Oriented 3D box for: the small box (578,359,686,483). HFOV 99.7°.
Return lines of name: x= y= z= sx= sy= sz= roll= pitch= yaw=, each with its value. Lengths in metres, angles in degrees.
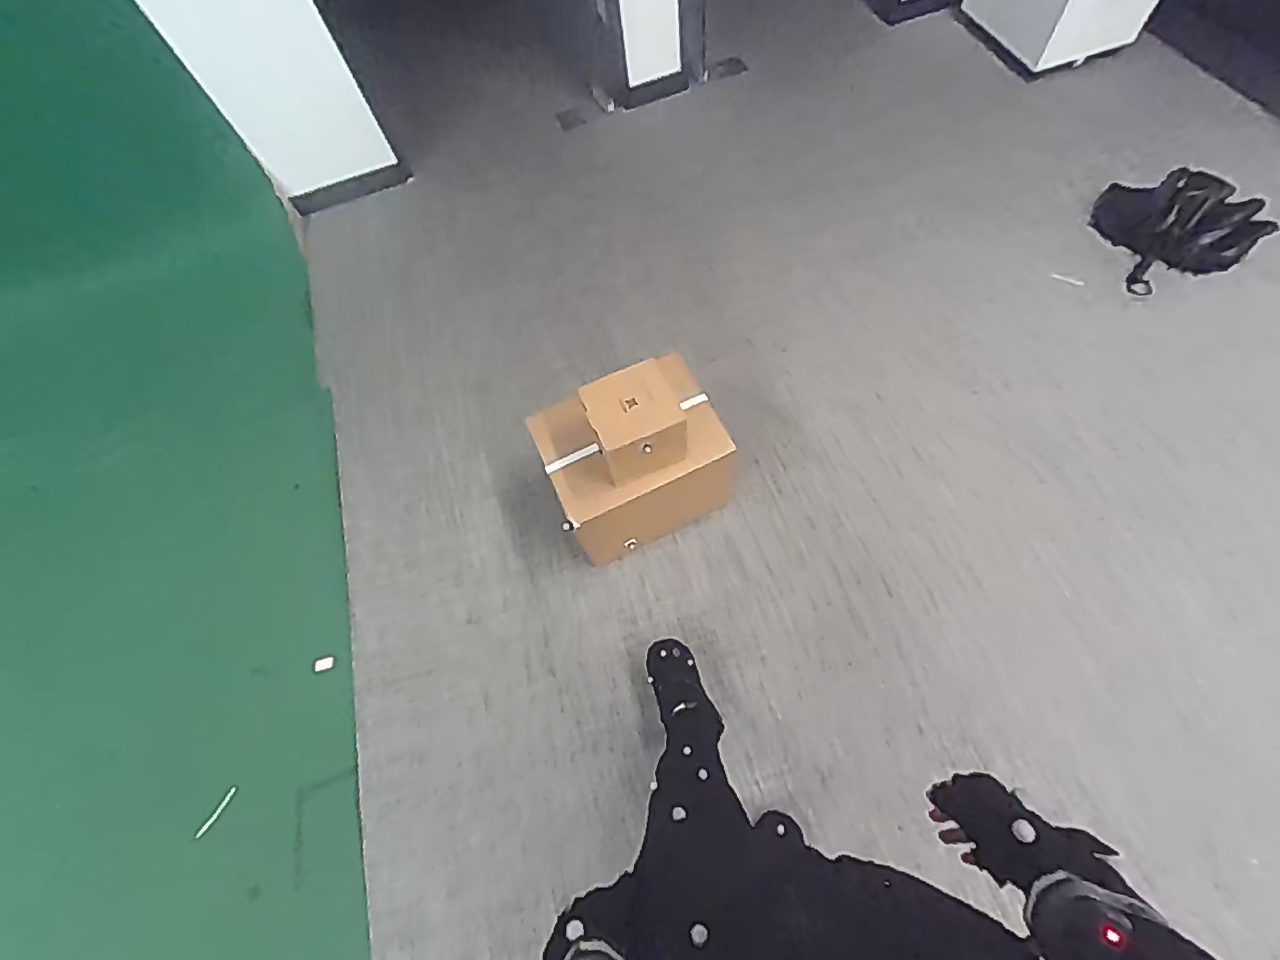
small box: x=-0.011 y=-0.117 z=1.141 sx=0.179 sy=0.176 sz=0.168 roll=-23 pitch=66 yaw=-5
